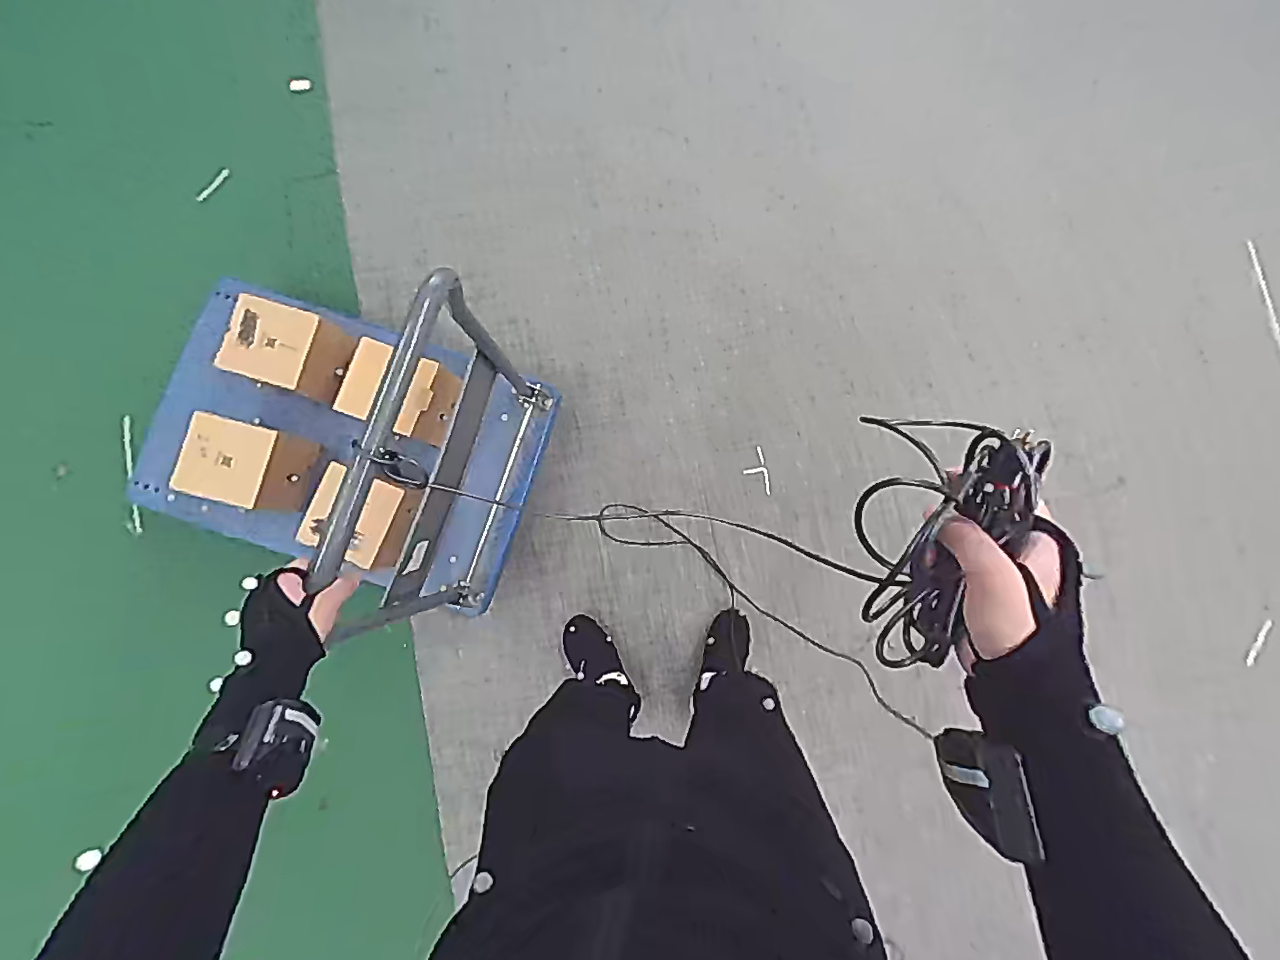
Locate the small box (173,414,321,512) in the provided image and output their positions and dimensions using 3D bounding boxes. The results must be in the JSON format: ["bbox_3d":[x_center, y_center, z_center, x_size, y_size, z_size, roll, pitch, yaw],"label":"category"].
[{"bbox_3d":[-0.838,-0.029,1.173,0.179,0.176,0.168,15,84,0],"label":"small box"}]

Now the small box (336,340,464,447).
[{"bbox_3d":[-0.519,-0.181,1.195,0.179,0.176,0.168,20,85,0],"label":"small box"}]

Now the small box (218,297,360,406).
[{"bbox_3d":[-0.764,-0.275,1.197,0.179,0.176,0.168,17,85,0],"label":"small box"}]
